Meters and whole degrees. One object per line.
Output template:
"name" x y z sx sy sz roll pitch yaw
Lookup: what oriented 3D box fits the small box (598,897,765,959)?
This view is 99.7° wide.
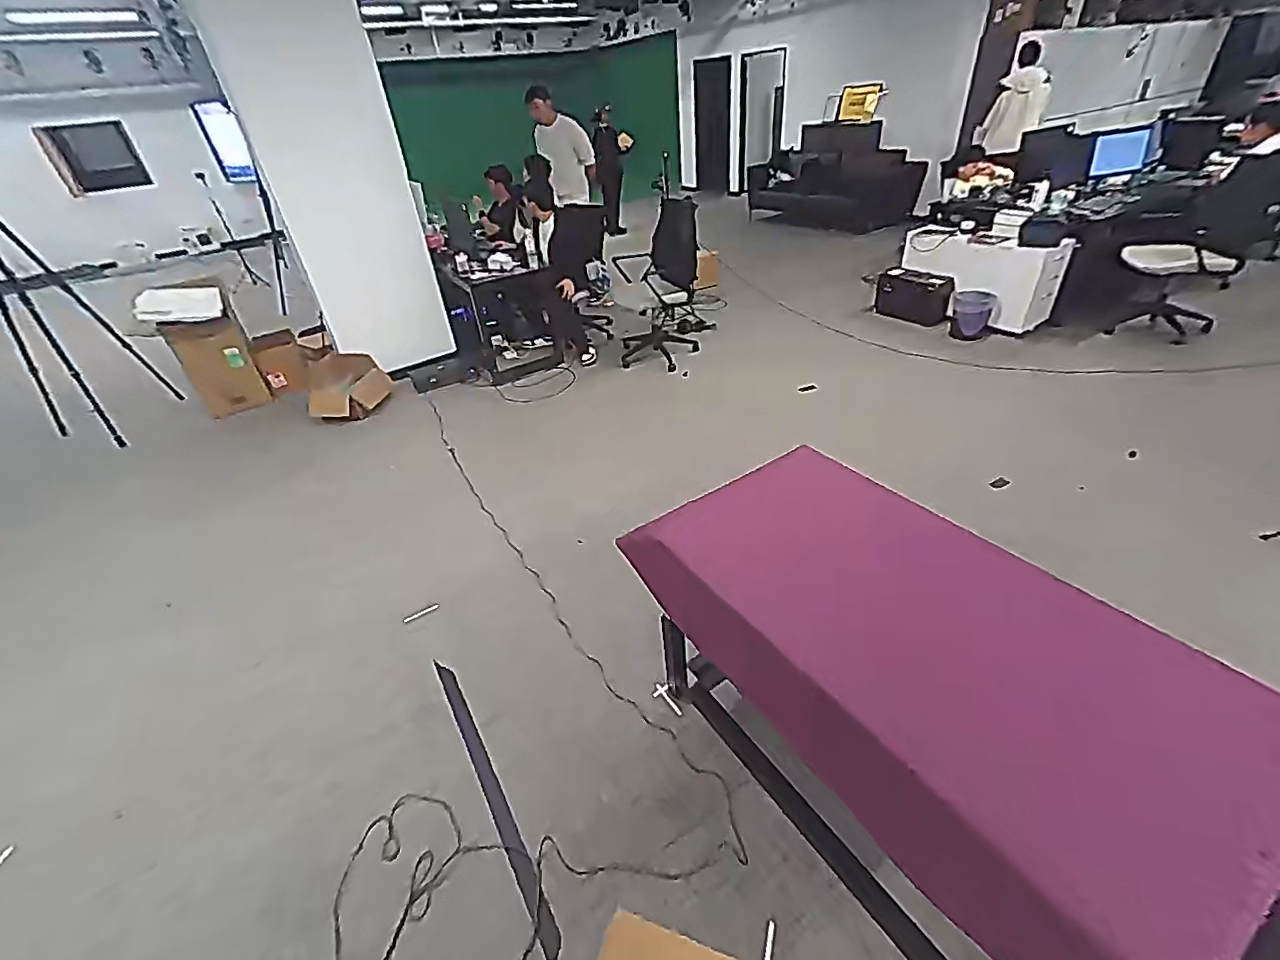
"small box" 0.021 0.571 0.547 0.168 0.176 0.179 17 44 9
